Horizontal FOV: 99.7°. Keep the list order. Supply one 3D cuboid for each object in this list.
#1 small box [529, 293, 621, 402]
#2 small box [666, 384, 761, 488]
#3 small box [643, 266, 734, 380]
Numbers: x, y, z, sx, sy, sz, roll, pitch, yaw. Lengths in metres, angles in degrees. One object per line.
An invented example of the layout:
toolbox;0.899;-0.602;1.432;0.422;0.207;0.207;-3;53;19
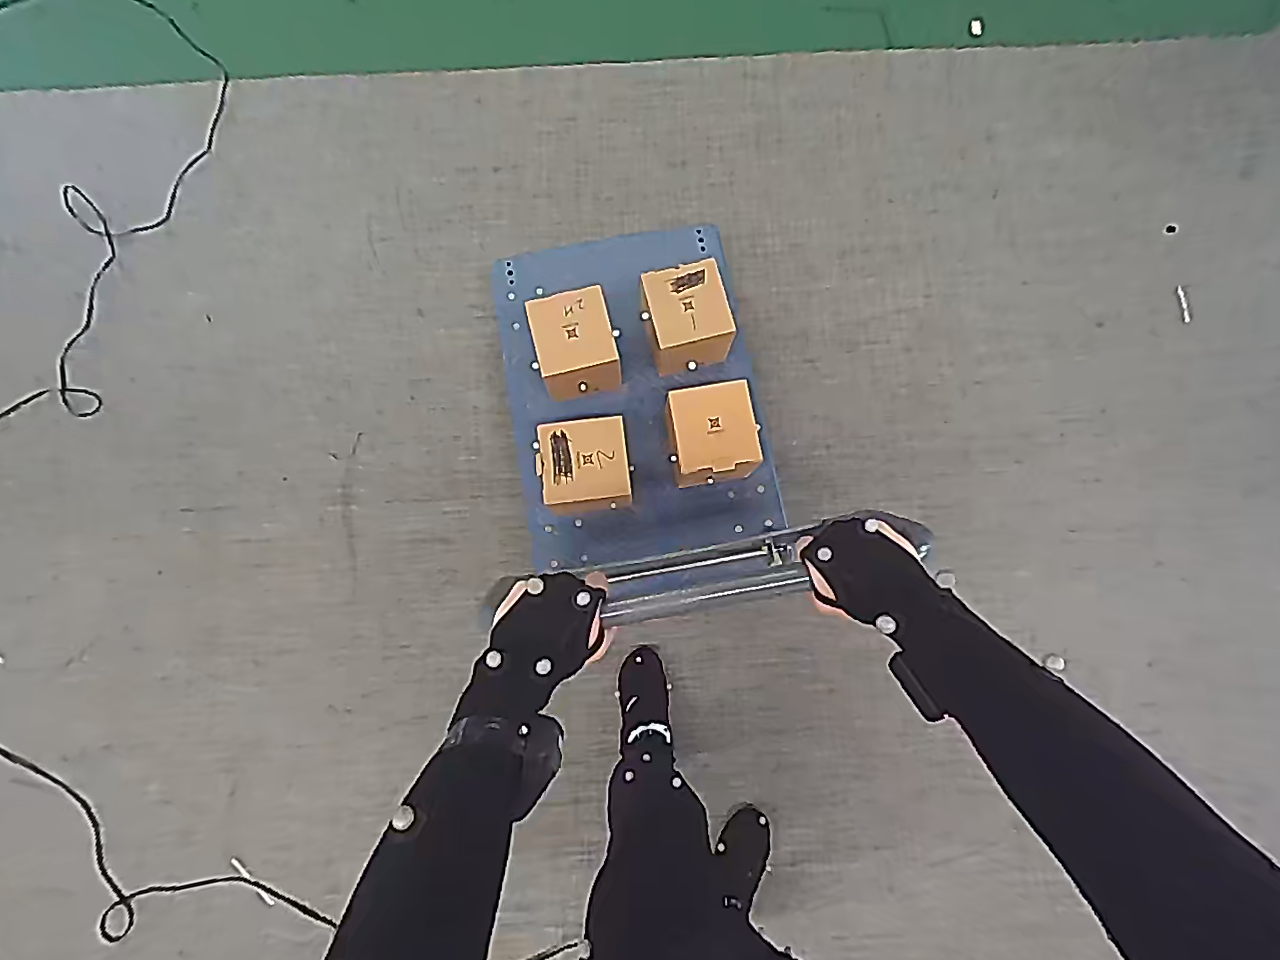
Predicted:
small box;-0.141;-0.290;1.226;0.168;0.176;0.179;-14;80;-3
small box;0.152;-0.090;1.189;0.168;0.176;0.179;-9;80;-2
small box;0.103;-0.352;1.236;0.168;0.176;0.179;-14;81;-2
